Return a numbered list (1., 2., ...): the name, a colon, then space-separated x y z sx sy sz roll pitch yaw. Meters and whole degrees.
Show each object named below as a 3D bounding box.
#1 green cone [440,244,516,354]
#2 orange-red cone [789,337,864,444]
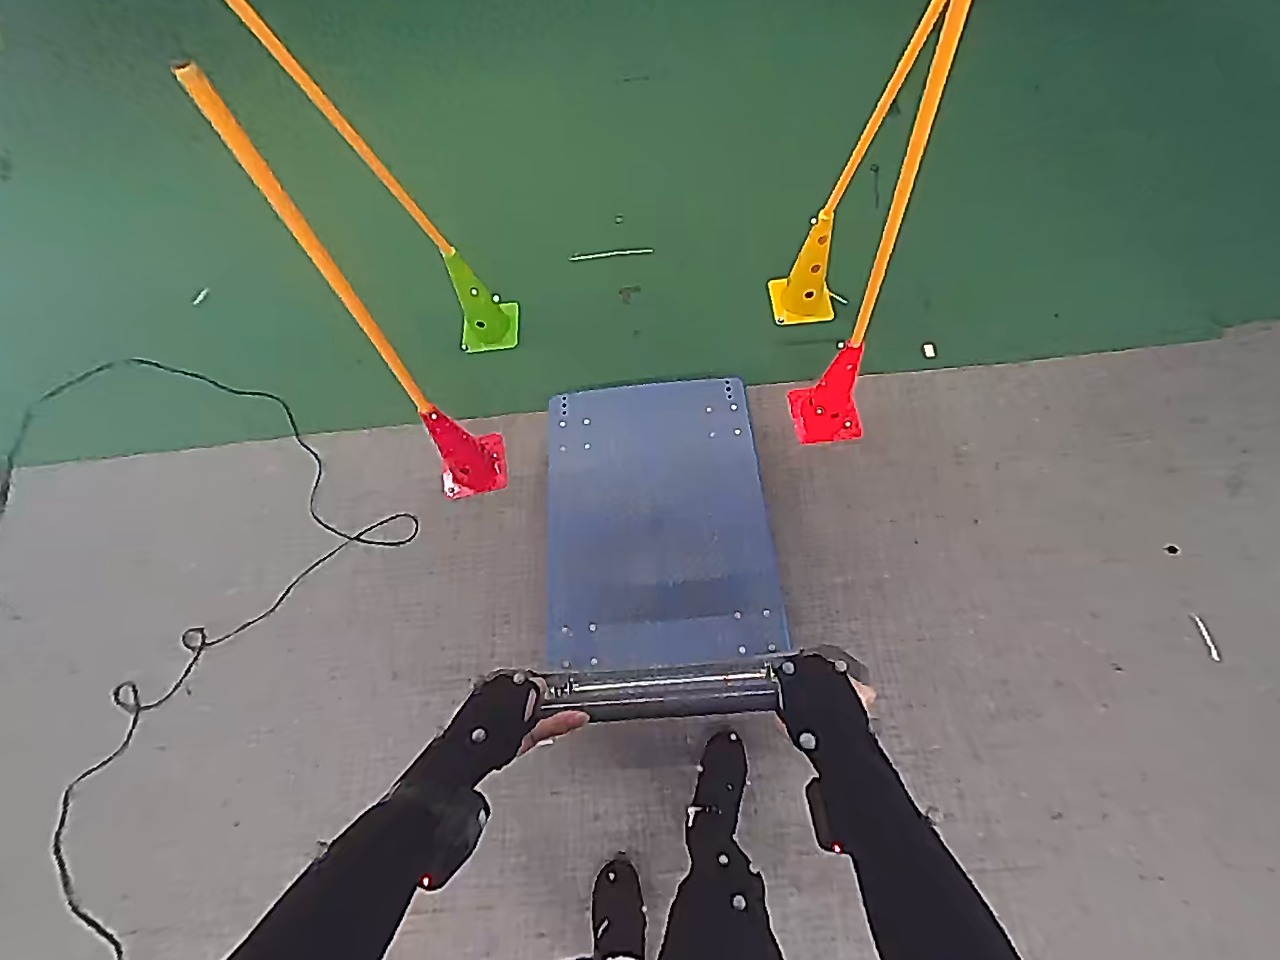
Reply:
1. green cone: -0.557 -0.609 1.767 0.200 0.368 0.202 -6 65 3
2. orange-red cone: 0.560 -0.275 1.526 0.198 0.360 0.199 -5 64 2
